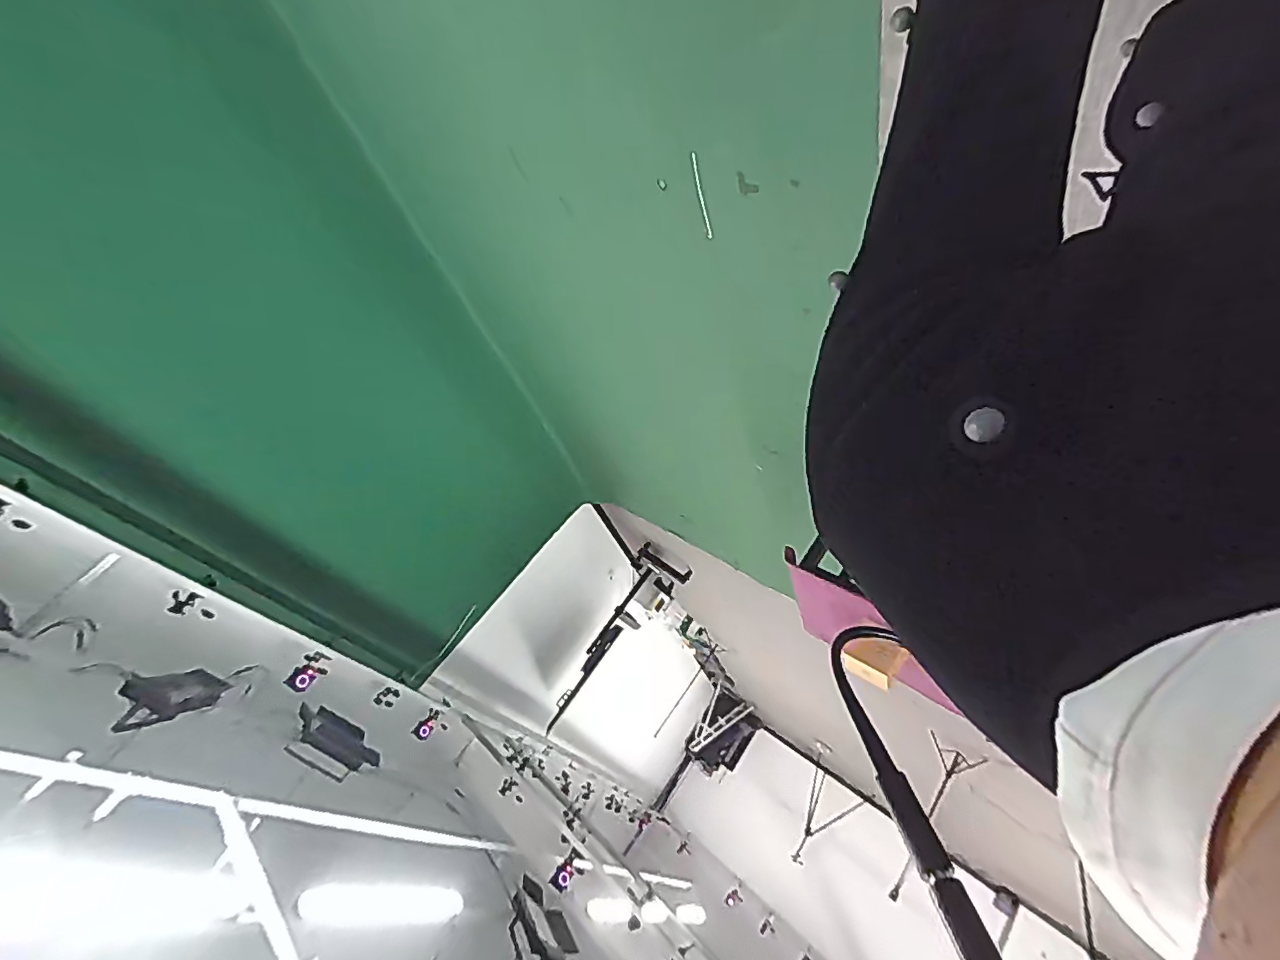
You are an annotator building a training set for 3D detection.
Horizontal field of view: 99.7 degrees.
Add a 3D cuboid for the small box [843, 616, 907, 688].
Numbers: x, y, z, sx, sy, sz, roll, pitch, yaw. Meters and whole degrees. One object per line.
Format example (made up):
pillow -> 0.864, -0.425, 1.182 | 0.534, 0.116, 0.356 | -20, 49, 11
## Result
small box -> 0.881, 0.638, 2.023 | 0.168, 0.176, 0.179 | 23, 156, 38
